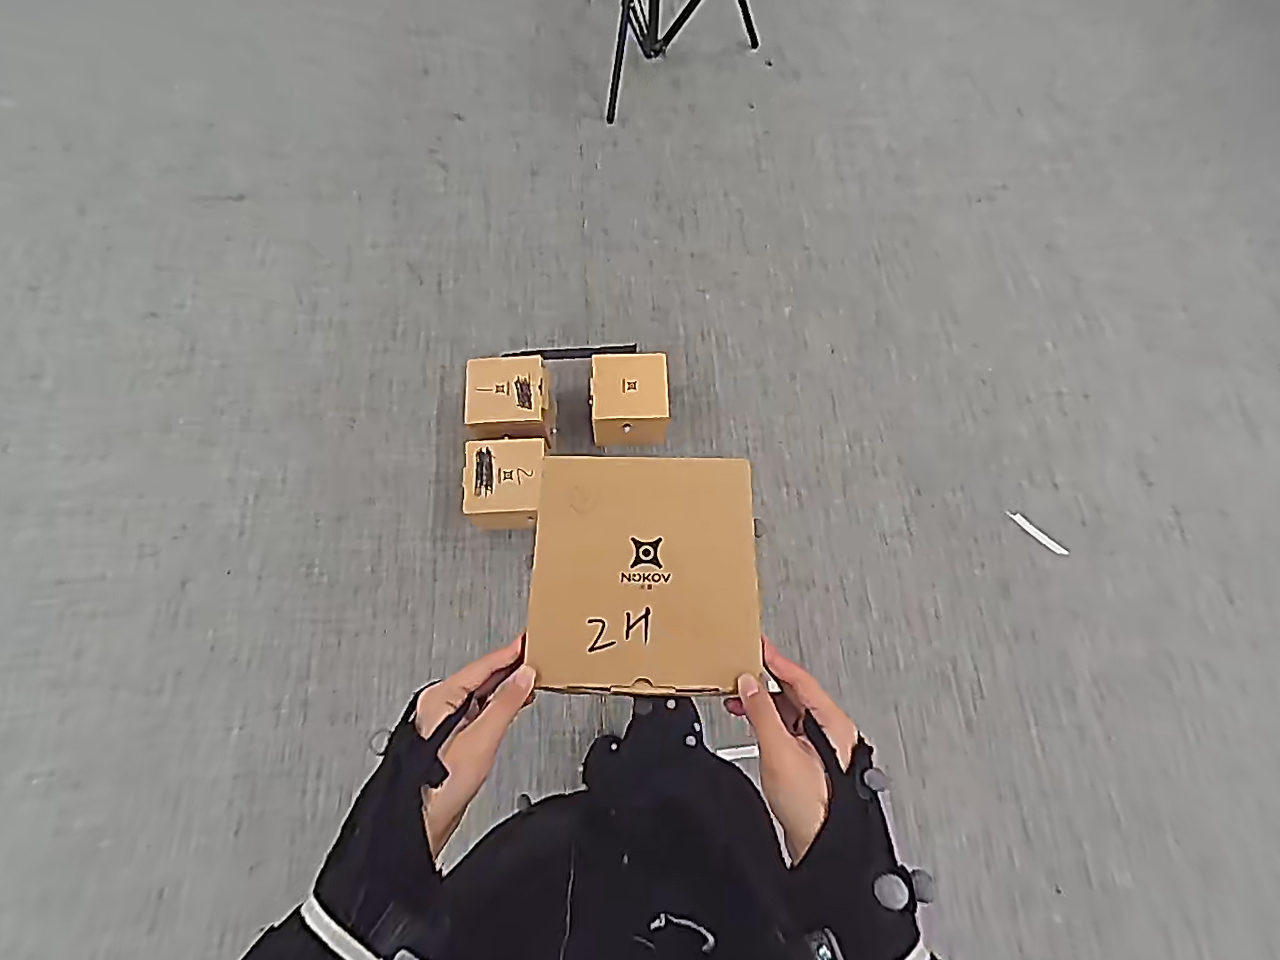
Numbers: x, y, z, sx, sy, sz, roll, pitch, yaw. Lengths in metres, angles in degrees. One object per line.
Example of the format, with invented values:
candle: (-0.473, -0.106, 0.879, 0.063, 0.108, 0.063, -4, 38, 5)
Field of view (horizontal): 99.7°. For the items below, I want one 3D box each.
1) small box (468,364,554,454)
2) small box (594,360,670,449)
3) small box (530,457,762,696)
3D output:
small box: (-0.306, -0.167, 1.315, 0.179, 0.176, 0.168, -3, 73, -1)
small box: (-0.022, -0.180, 1.325, 0.179, 0.176, 0.168, -2, 73, -1)
small box: (0.006, 0.094, 0.481, 0.168, 0.176, 0.179, 1, 68, 1)
